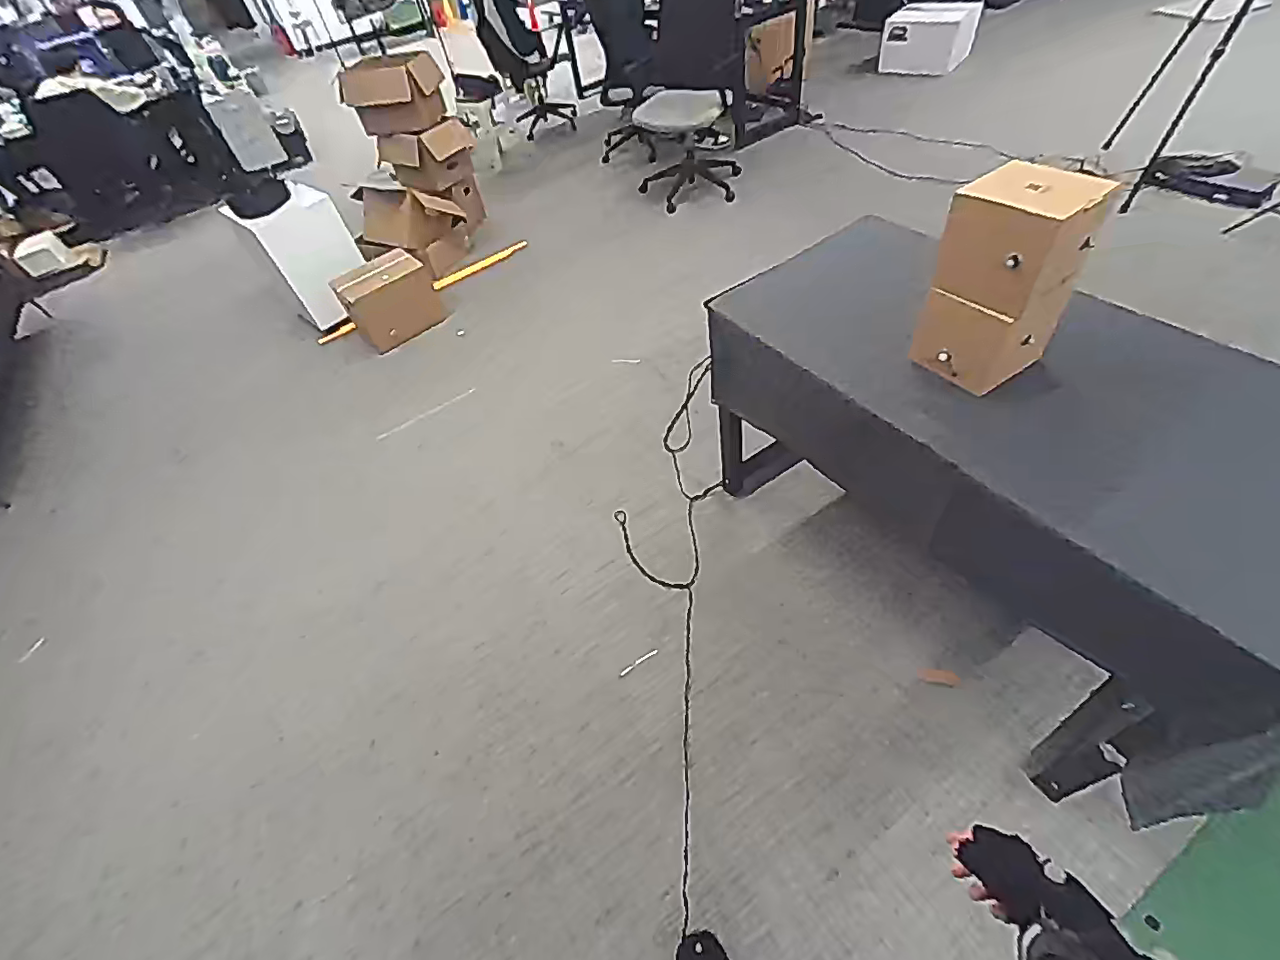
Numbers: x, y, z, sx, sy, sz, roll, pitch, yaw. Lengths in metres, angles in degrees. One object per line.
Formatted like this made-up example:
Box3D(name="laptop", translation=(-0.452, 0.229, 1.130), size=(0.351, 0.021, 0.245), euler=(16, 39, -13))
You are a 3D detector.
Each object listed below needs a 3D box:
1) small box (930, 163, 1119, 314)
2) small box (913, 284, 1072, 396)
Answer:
Box3D(name="small box", translation=(0.636, -0.405, 0.919), size=(0.168, 0.176, 0.179), euler=(-31, 50, -17))
Box3D(name="small box", translation=(0.659, -0.294, 1.036), size=(0.179, 0.176, 0.168), euler=(-30, 50, -14))
